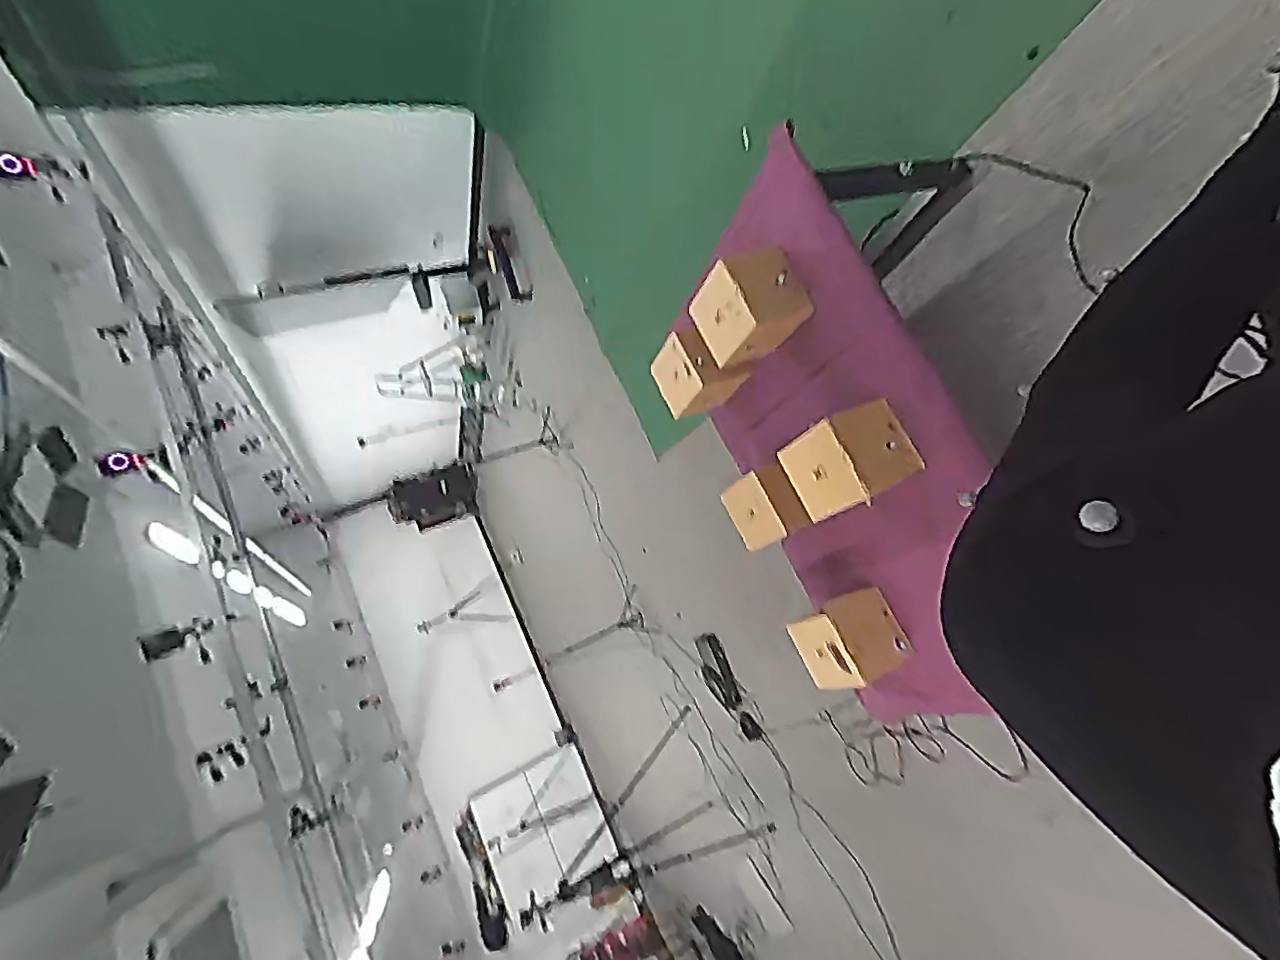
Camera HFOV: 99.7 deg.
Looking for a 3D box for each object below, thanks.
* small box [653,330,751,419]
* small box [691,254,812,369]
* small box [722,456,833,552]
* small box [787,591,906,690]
[{"bbox_3d":[0.165,-0.288,1.448,0.168,0.176,0.179,63,153,12],"label":"small box"},{"bbox_3d":[0.248,-0.379,1.216,0.168,0.176,0.179,64,155,10],"label":"small box"},{"bbox_3d":[0.343,0.060,1.353,0.168,0.176,0.179,64,153,11],"label":"small box"},{"bbox_3d":[0.492,0.377,1.278,0.168,0.176,0.179,64,154,13],"label":"small box"}]
